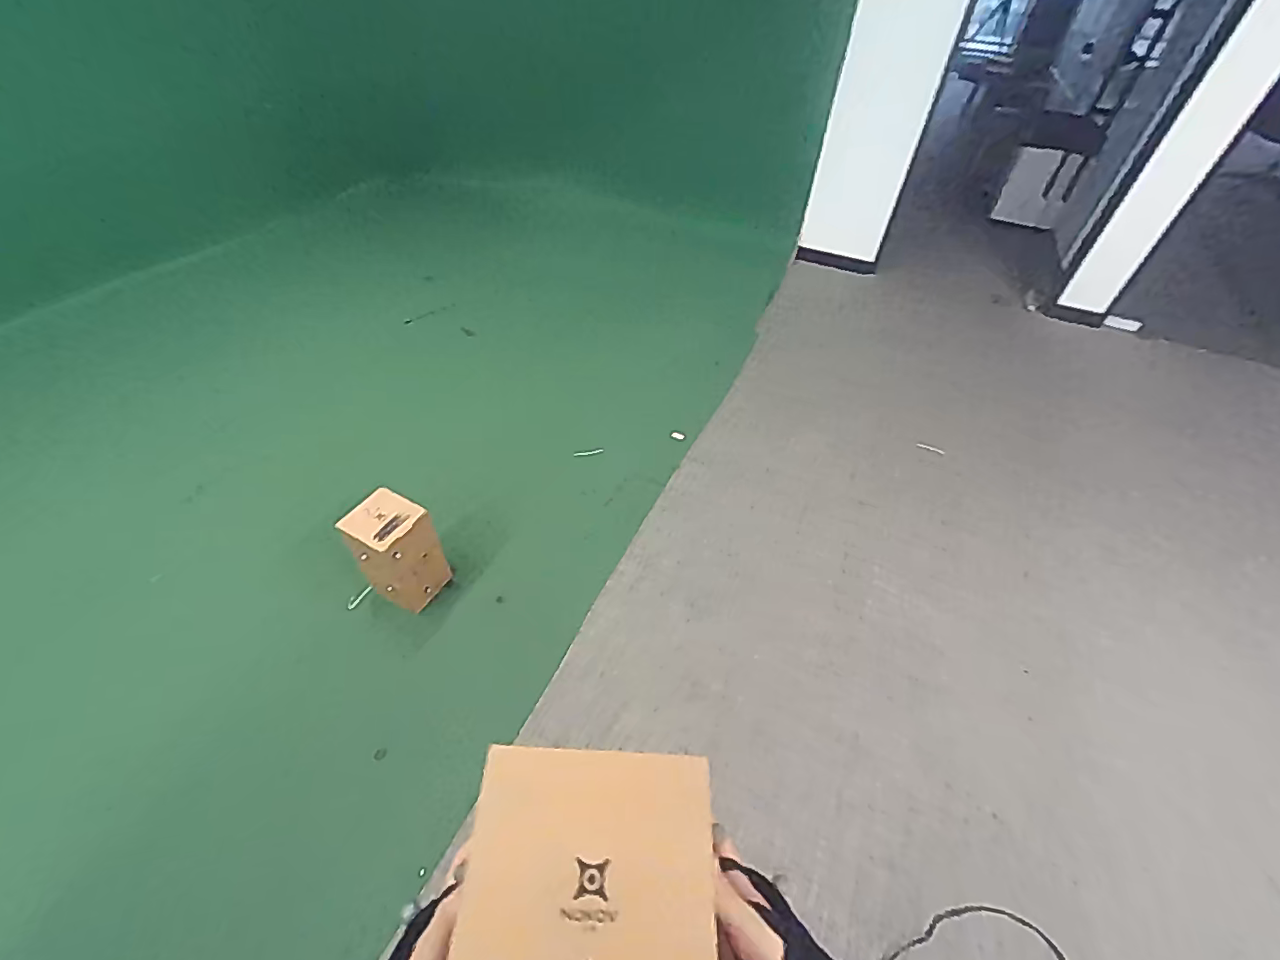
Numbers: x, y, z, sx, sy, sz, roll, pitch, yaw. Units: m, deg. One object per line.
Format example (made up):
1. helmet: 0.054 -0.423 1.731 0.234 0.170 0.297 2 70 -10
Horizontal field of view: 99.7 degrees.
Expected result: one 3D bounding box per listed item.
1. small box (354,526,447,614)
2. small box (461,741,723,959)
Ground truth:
1. small box: -0.718 0.276 1.637 0.179 0.176 0.168 23 50 17
2. small box: -0.034 0.323 0.418 0.168 0.176 0.179 5 50 -2
